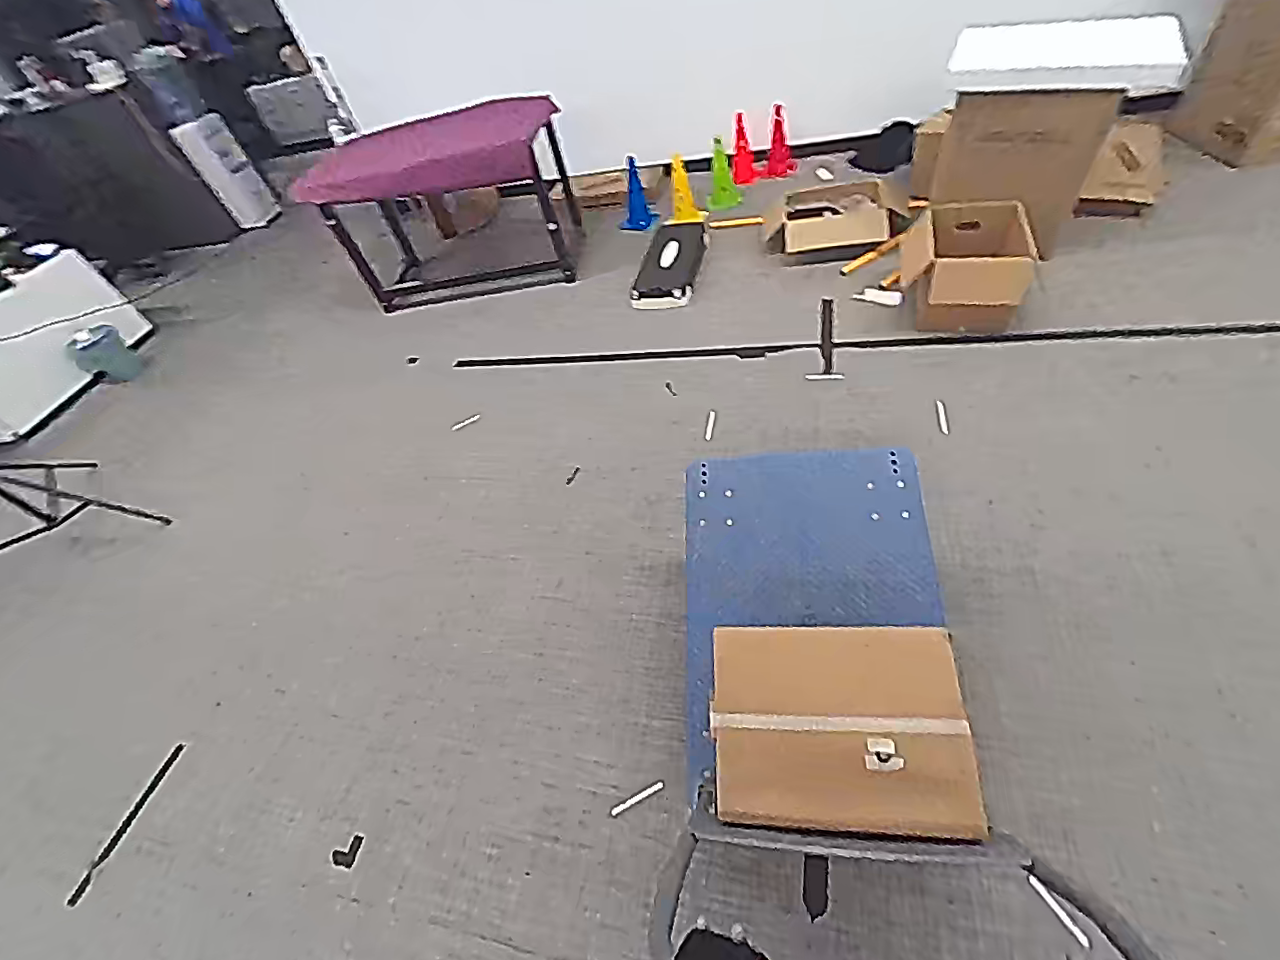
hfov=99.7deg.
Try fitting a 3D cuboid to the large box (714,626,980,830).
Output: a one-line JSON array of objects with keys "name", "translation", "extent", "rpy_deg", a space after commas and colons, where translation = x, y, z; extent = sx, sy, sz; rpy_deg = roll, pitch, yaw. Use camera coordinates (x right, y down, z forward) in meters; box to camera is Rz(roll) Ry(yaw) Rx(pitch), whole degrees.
[{"name": "large box", "translation": [0.361, 0.472, 1.059], "extent": [0.408, 0.320, 0.320], "rpy_deg": [-3, 66, 11]}]
